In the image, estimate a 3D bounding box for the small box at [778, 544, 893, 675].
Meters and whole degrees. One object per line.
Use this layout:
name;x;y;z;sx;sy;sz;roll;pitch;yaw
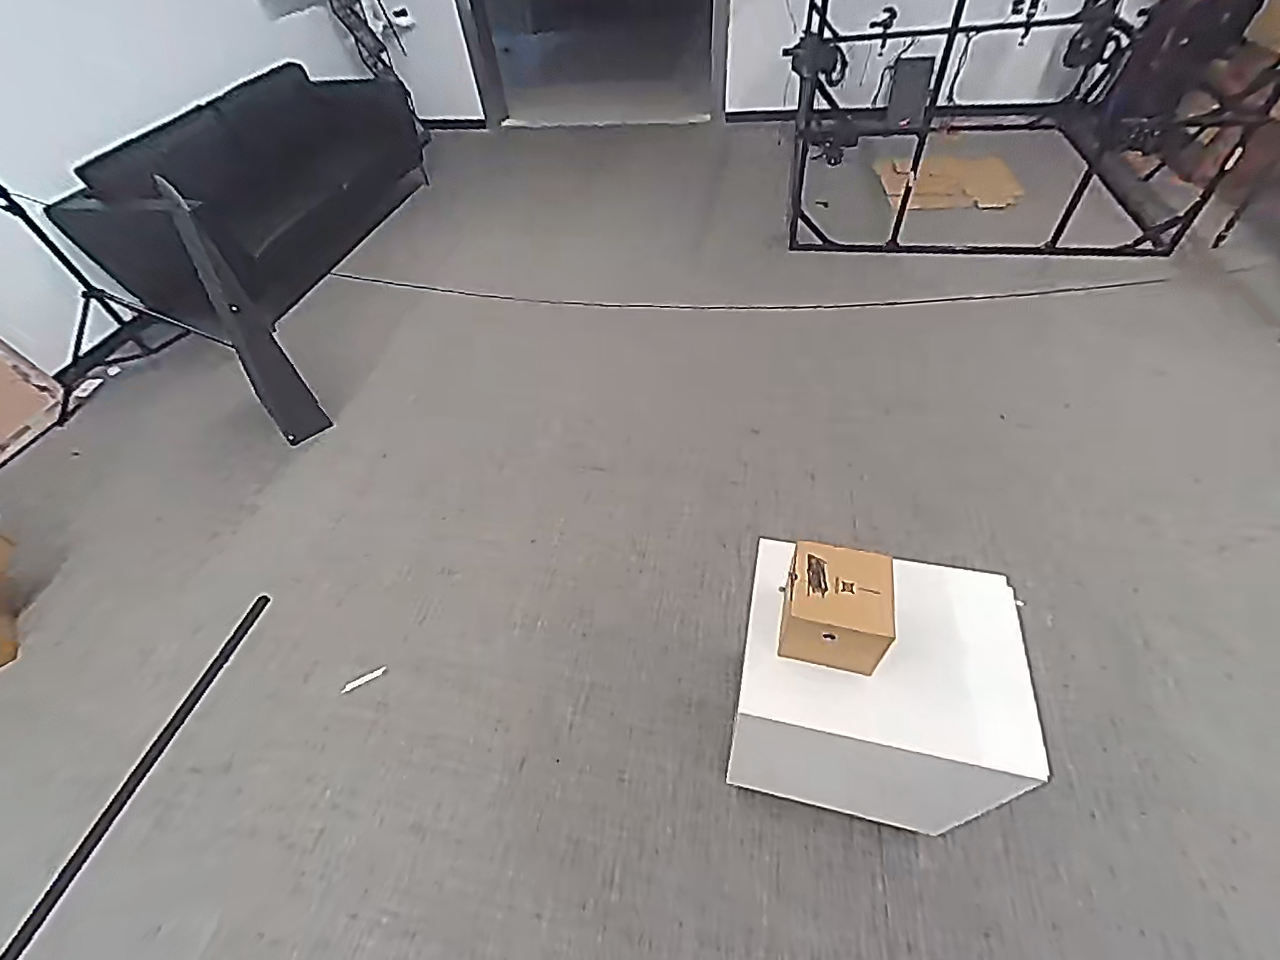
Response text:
small box;0.363;0.248;1.023;0.179;0.176;0.168;9;51;12
